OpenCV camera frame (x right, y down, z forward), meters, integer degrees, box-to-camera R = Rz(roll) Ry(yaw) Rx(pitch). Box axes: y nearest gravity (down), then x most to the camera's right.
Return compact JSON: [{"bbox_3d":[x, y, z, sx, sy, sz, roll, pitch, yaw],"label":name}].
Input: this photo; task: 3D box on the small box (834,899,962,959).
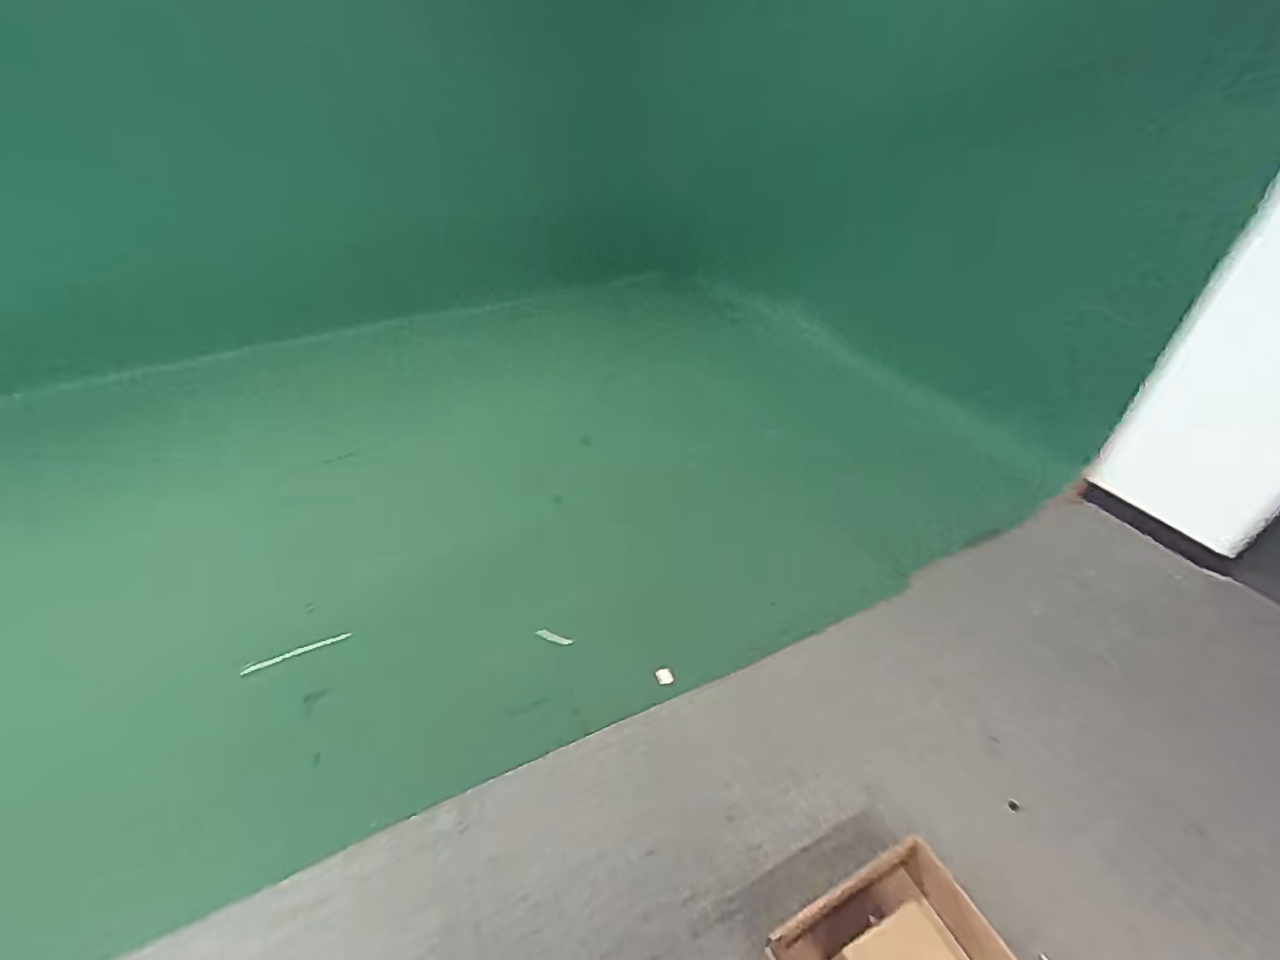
[{"bbox_3d":[0.483,0.919,0.991,0.179,0.176,0.168,-18,43,-18],"label":"small box"}]
